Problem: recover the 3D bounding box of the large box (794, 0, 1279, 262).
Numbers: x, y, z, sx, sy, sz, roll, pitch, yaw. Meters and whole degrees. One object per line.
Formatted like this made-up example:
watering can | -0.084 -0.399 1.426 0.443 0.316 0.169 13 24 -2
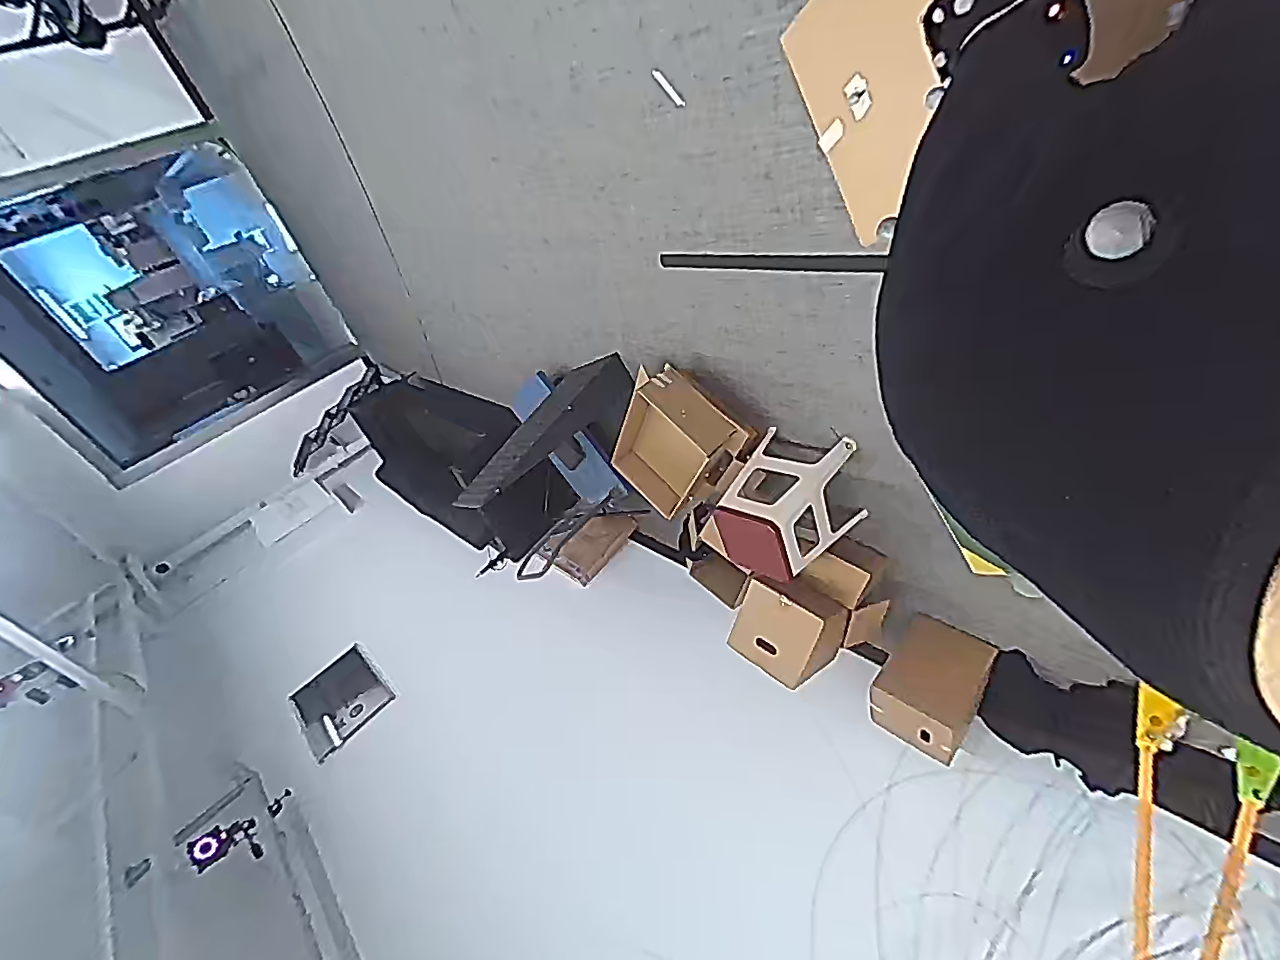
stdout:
large box | 0.489 -0.552 0.702 0.320 0.408 0.320 61 166 -12
